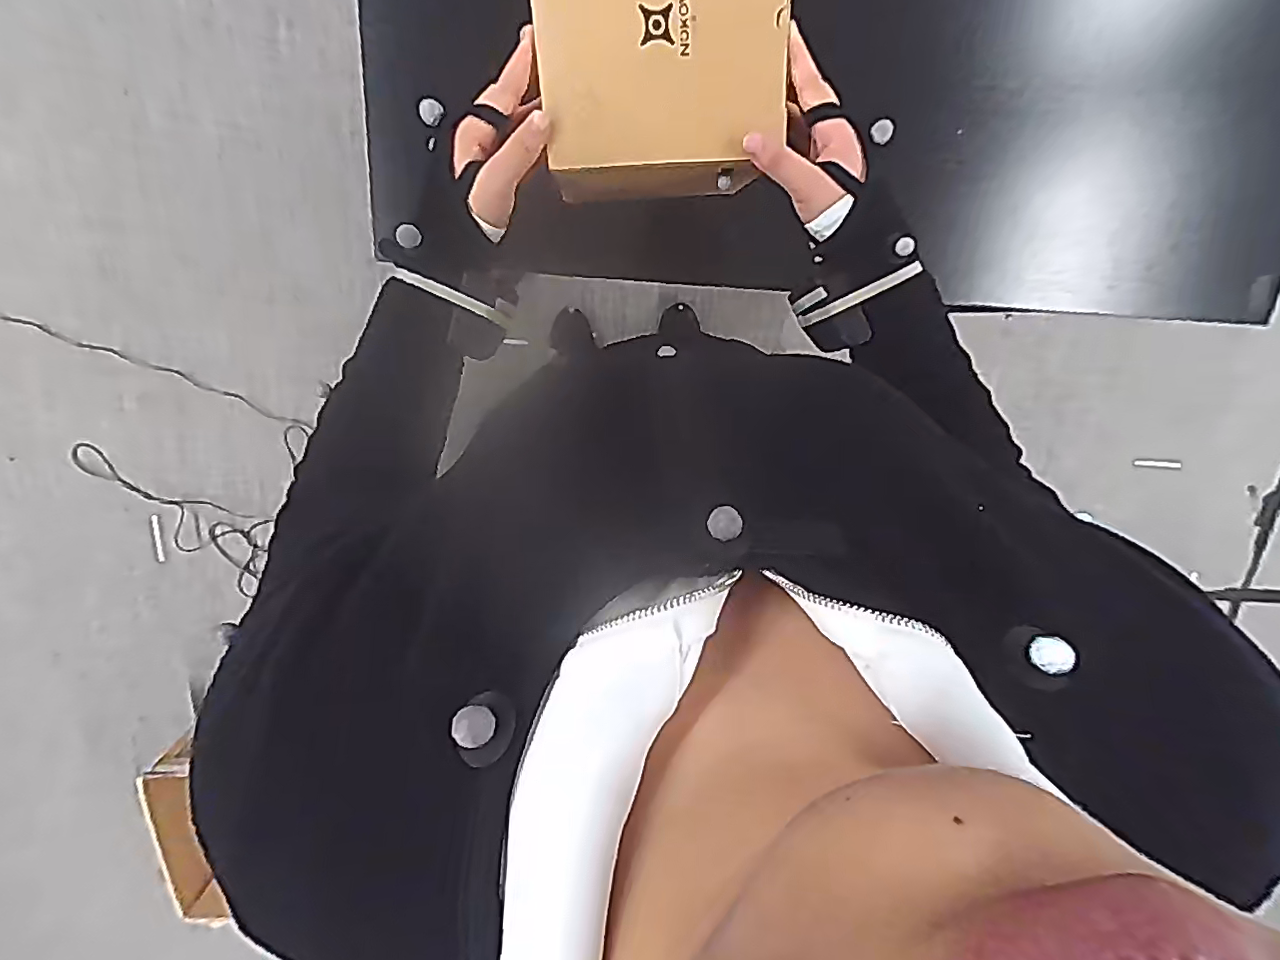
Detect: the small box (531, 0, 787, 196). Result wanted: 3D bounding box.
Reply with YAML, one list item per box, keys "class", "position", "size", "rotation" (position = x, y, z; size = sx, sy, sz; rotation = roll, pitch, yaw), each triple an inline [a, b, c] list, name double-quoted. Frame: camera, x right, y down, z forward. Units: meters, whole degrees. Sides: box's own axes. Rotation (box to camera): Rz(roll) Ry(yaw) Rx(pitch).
- class: "small box"
  position: [0.009, -0.338, 0.442]
  size: [0.179, 0.176, 0.168]
  rotation: [-5, 111, -3]
